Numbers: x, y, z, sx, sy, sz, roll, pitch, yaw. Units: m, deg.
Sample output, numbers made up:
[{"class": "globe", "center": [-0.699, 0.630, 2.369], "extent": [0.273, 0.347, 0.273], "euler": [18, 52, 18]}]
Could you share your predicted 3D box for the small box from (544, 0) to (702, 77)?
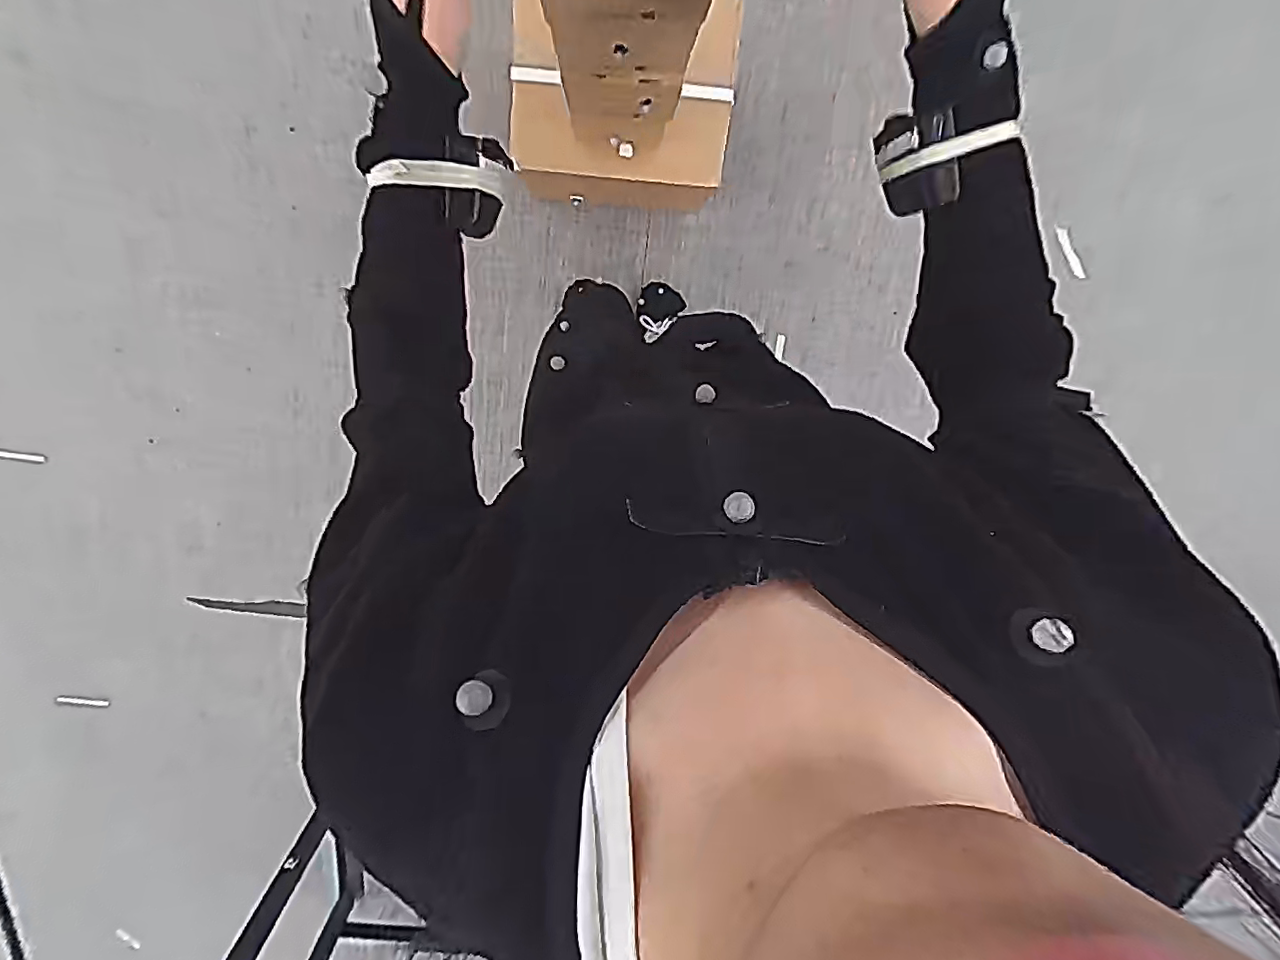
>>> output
[{"class": "small box", "center": [-0.021, -0.584, 0.608], "extent": [0.168, 0.176, 0.179], "euler": [-2, 109, -3]}]

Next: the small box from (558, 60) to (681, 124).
[{"class": "small box", "center": [-0.024, -0.631, 0.766], "extent": [0.168, 0.176, 0.179], "euler": [2, 107, -4]}]

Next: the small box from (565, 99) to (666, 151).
[{"class": "small box", "center": [-0.035, -0.686, 0.918], "extent": [0.168, 0.176, 0.179], "euler": [4, 108, -3]}]
